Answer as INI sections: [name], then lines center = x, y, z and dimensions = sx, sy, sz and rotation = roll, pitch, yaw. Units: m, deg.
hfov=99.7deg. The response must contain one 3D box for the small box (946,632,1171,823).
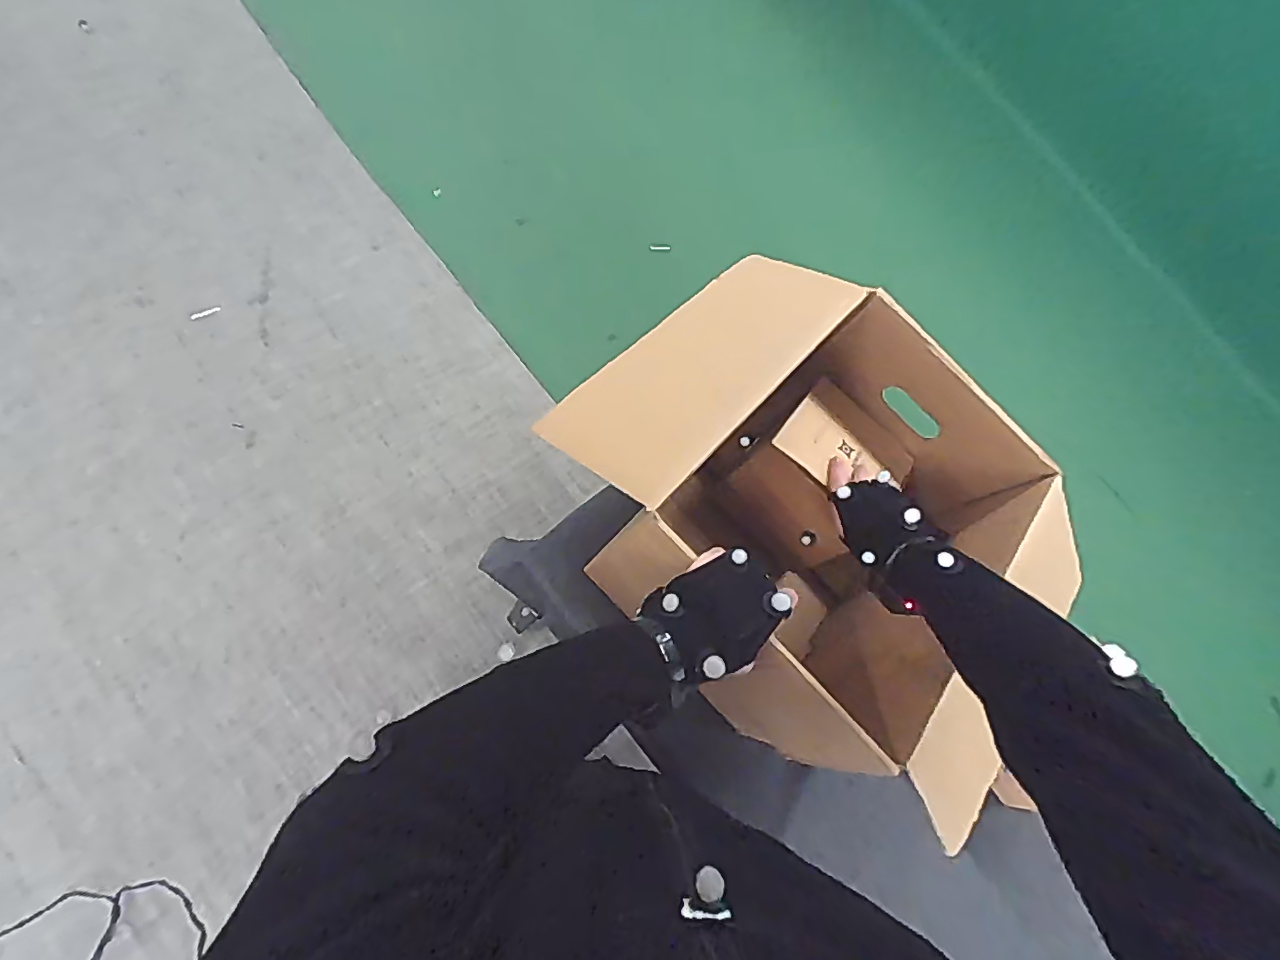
[small box]
center = 0.584, 0.341, 0.779
dimensions = 0.179, 0.176, 0.168
rotation = -33, 84, -23
